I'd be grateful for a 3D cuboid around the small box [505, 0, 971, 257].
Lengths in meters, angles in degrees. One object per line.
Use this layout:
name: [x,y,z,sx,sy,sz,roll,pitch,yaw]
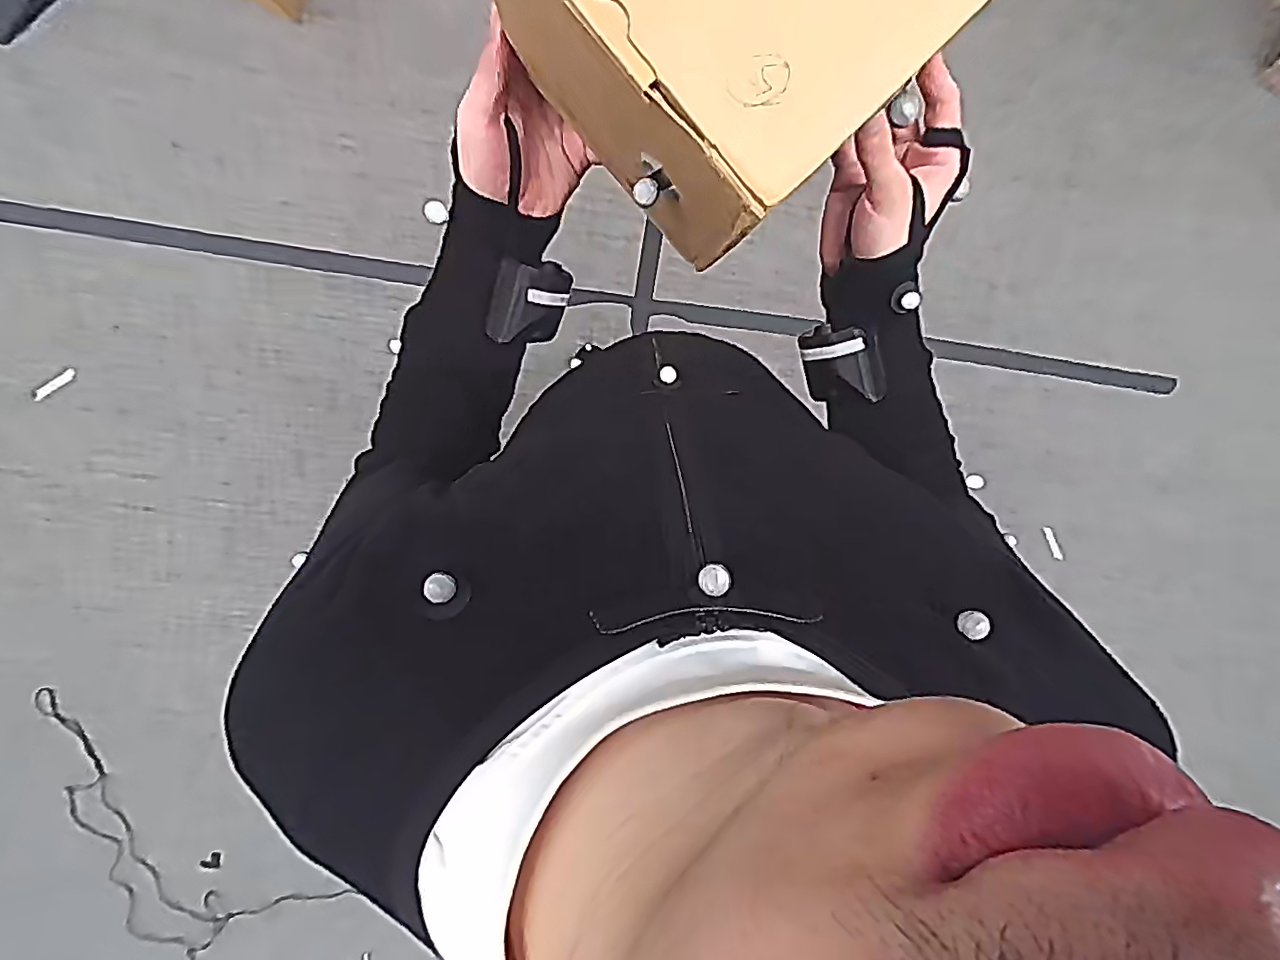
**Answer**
small box: [0.045,-0.235,0.256,0.179,0.176,0.168,-43,103,7]
